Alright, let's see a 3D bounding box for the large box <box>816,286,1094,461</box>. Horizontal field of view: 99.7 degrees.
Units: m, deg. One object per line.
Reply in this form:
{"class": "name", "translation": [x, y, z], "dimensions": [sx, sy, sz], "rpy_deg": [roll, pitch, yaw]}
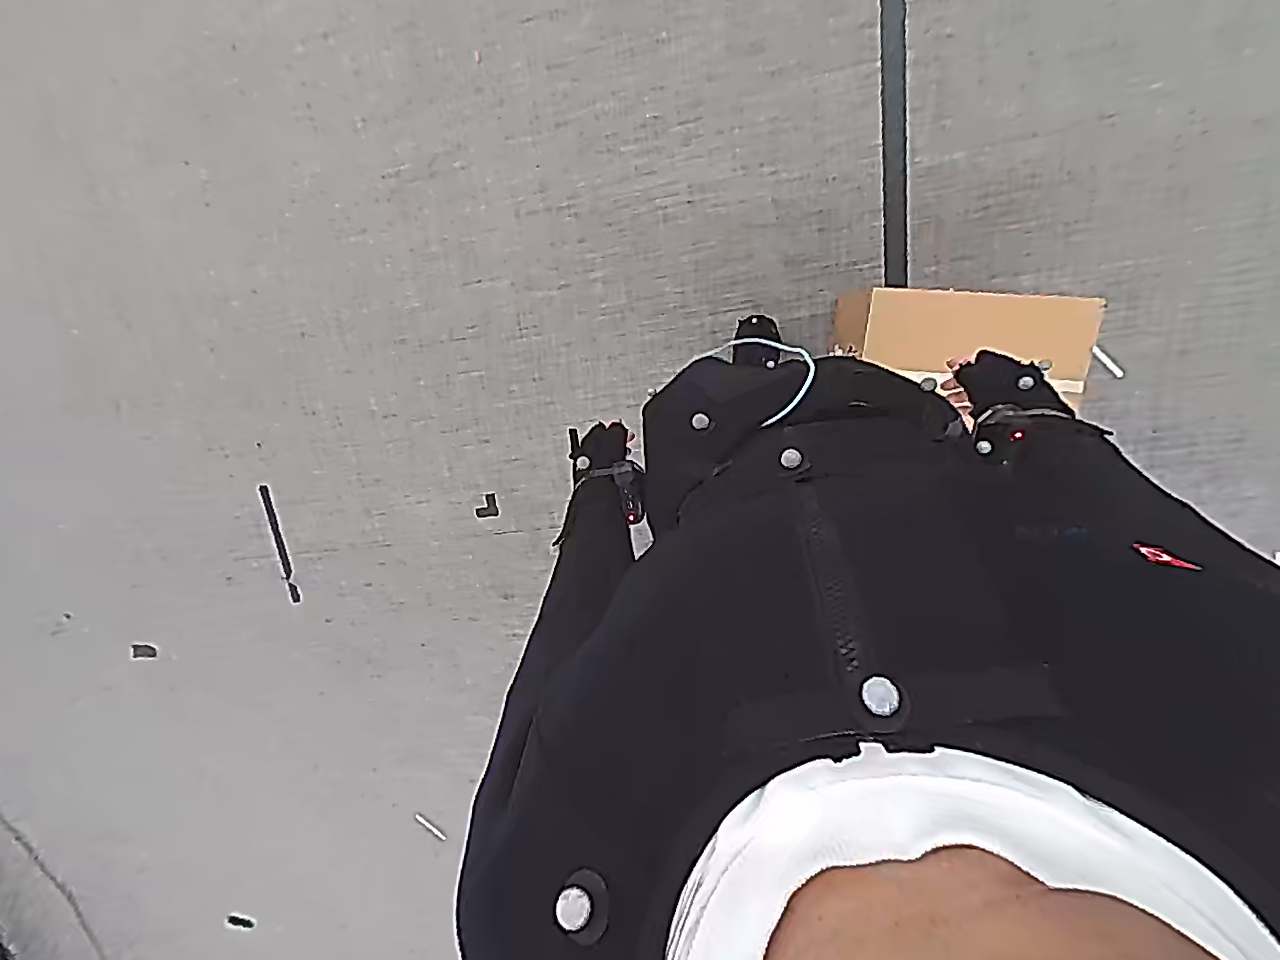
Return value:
{"class": "large box", "translation": [0.625, -0.235, 1.165], "dimensions": [0.408, 0.320, 0.320], "rpy_deg": [5, 107, 6]}
